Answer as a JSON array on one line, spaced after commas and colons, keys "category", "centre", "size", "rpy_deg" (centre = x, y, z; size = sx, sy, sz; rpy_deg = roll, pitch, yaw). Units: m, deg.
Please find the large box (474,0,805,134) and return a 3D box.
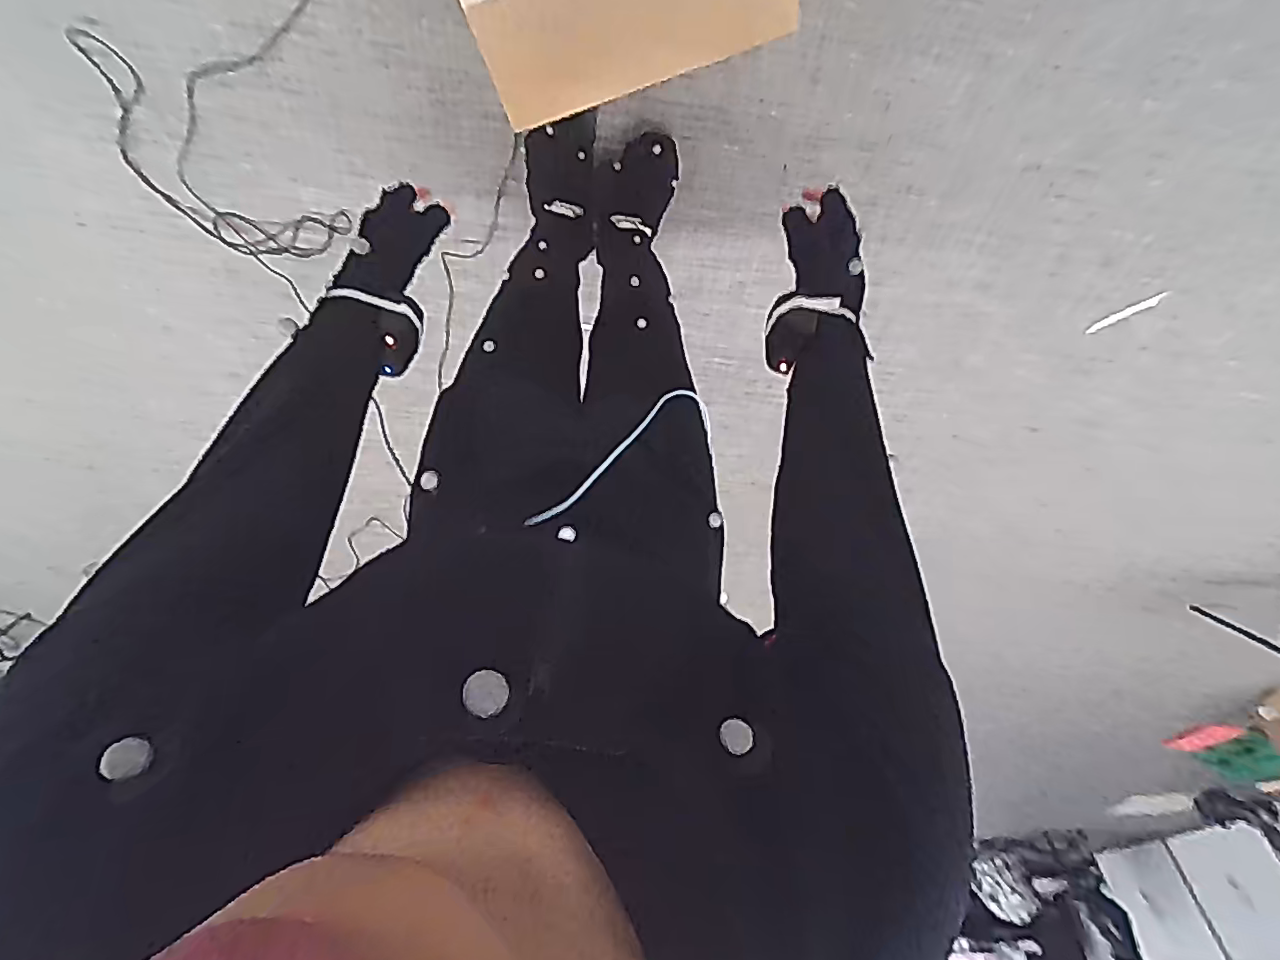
[{"category": "large box", "centre": [-0.021, -0.745, 0.739], "size": [0.408, 0.320, 0.320], "rpy_deg": [-12, 136, 11]}]
